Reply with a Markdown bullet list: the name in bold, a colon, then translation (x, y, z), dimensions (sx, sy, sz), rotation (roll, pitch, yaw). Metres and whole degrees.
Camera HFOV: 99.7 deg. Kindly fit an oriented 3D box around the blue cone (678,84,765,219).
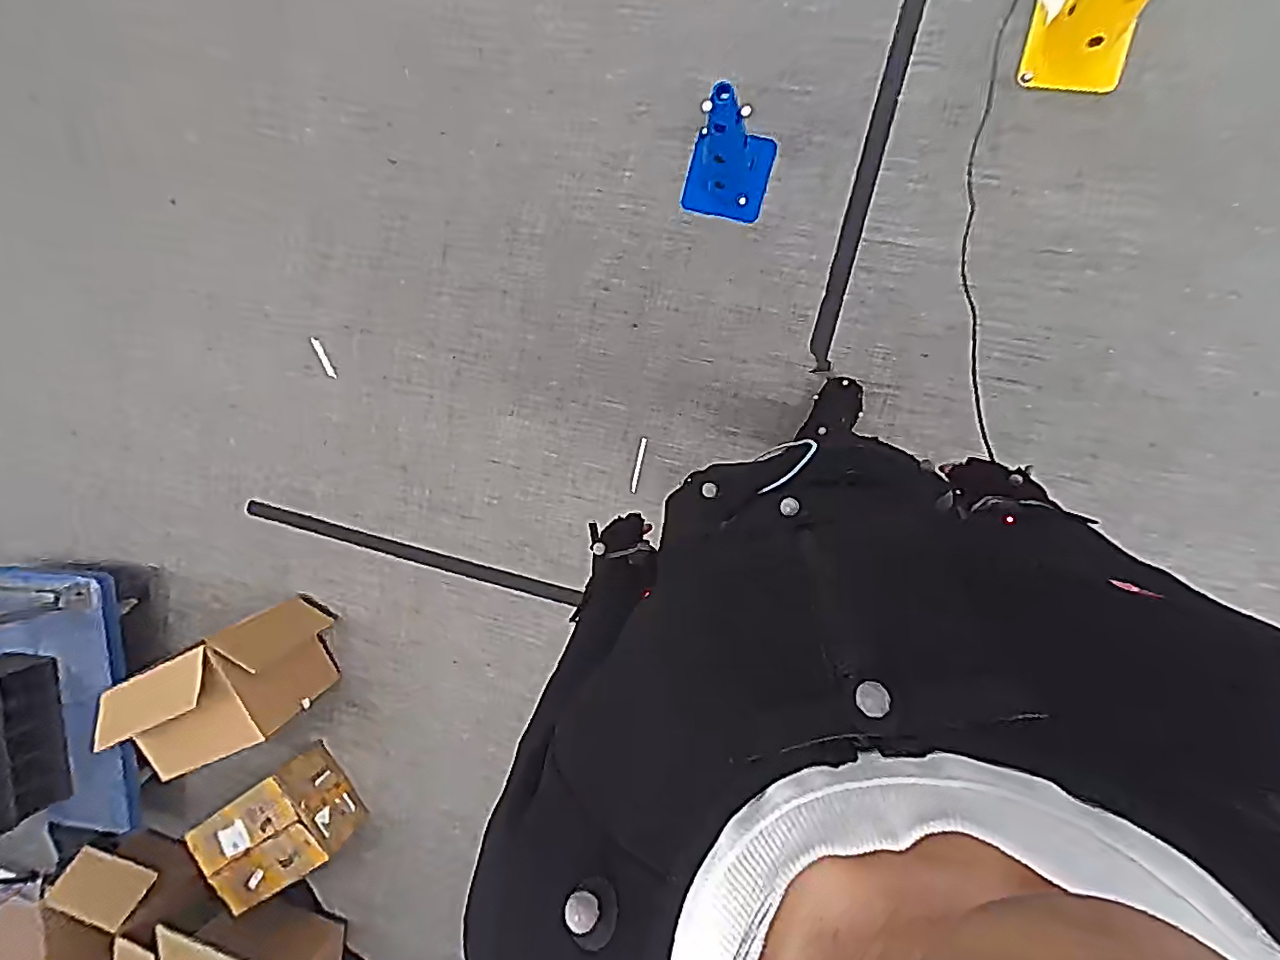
- **blue cone**: translation (0.169, -0.739, 1.186), dimensions (0.192, 0.380, 0.193), rotation (18, 100, 9)
